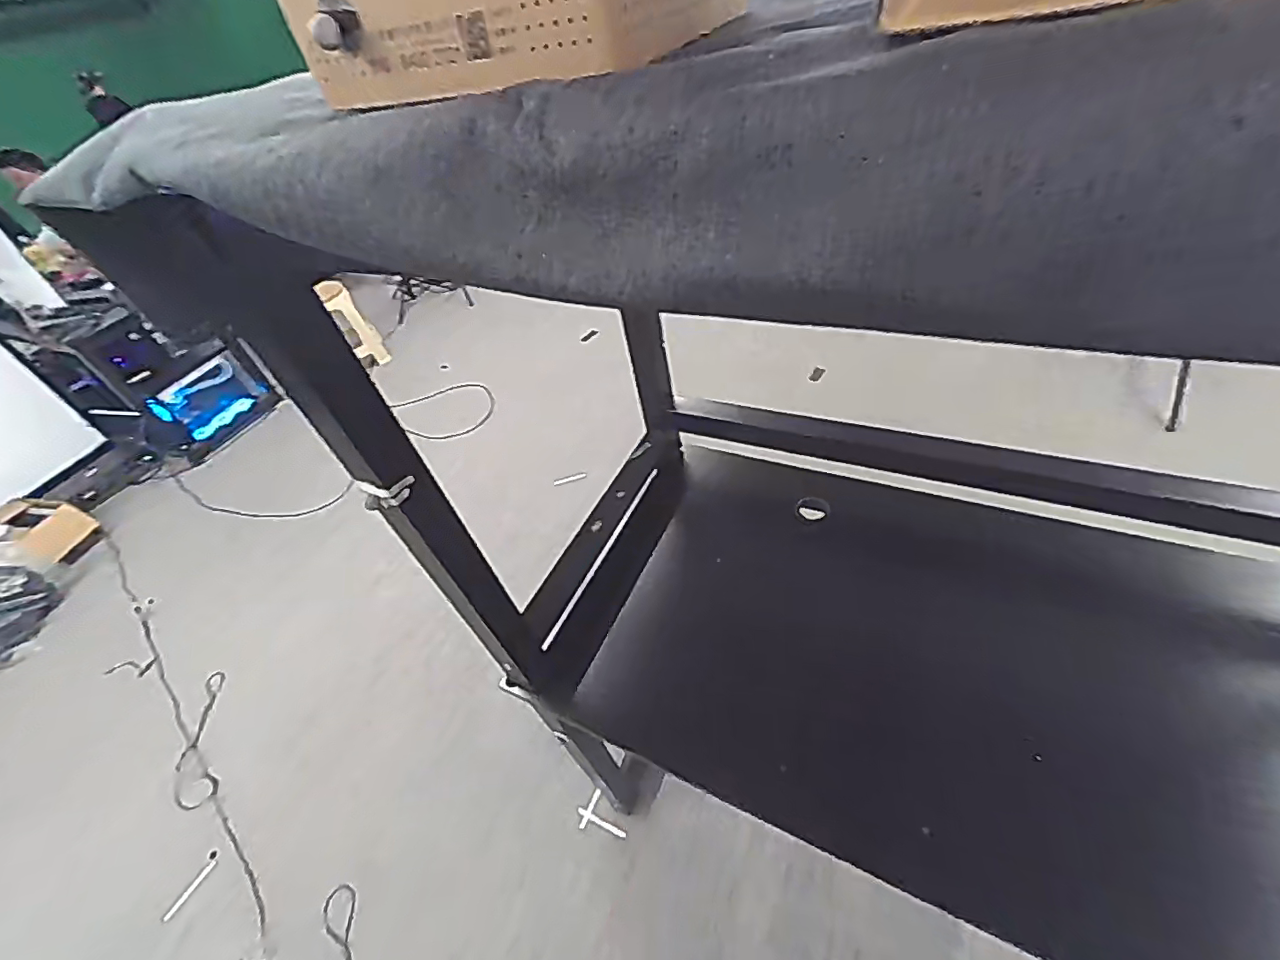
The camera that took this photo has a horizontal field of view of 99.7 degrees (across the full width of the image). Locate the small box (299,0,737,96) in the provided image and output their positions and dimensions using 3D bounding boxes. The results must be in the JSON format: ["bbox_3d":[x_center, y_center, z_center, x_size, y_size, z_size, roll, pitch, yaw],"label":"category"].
[{"bbox_3d":[-0.058,-0.283,0.234,0.168,0.176,0.179,12,48,23],"label":"small box"}]
